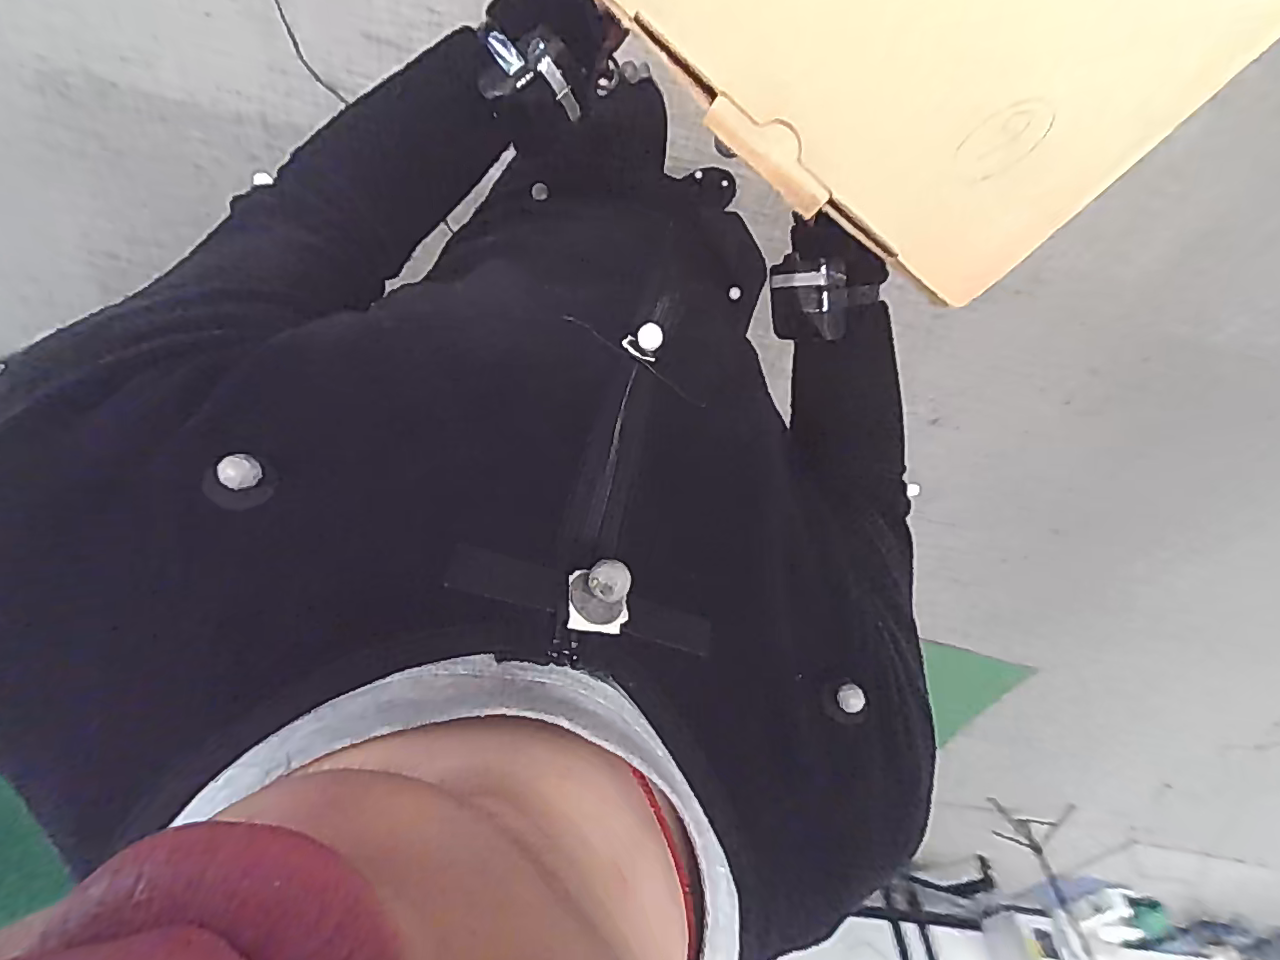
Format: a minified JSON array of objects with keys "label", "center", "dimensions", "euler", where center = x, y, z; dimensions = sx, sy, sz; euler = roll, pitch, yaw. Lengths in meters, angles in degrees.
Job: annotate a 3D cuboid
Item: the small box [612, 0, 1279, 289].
[{"label":"small box","center":[0.093,-0.202,0.164],"dimensions":[0.168,0.176,0.179],"euler":[30,128,-18]}]
